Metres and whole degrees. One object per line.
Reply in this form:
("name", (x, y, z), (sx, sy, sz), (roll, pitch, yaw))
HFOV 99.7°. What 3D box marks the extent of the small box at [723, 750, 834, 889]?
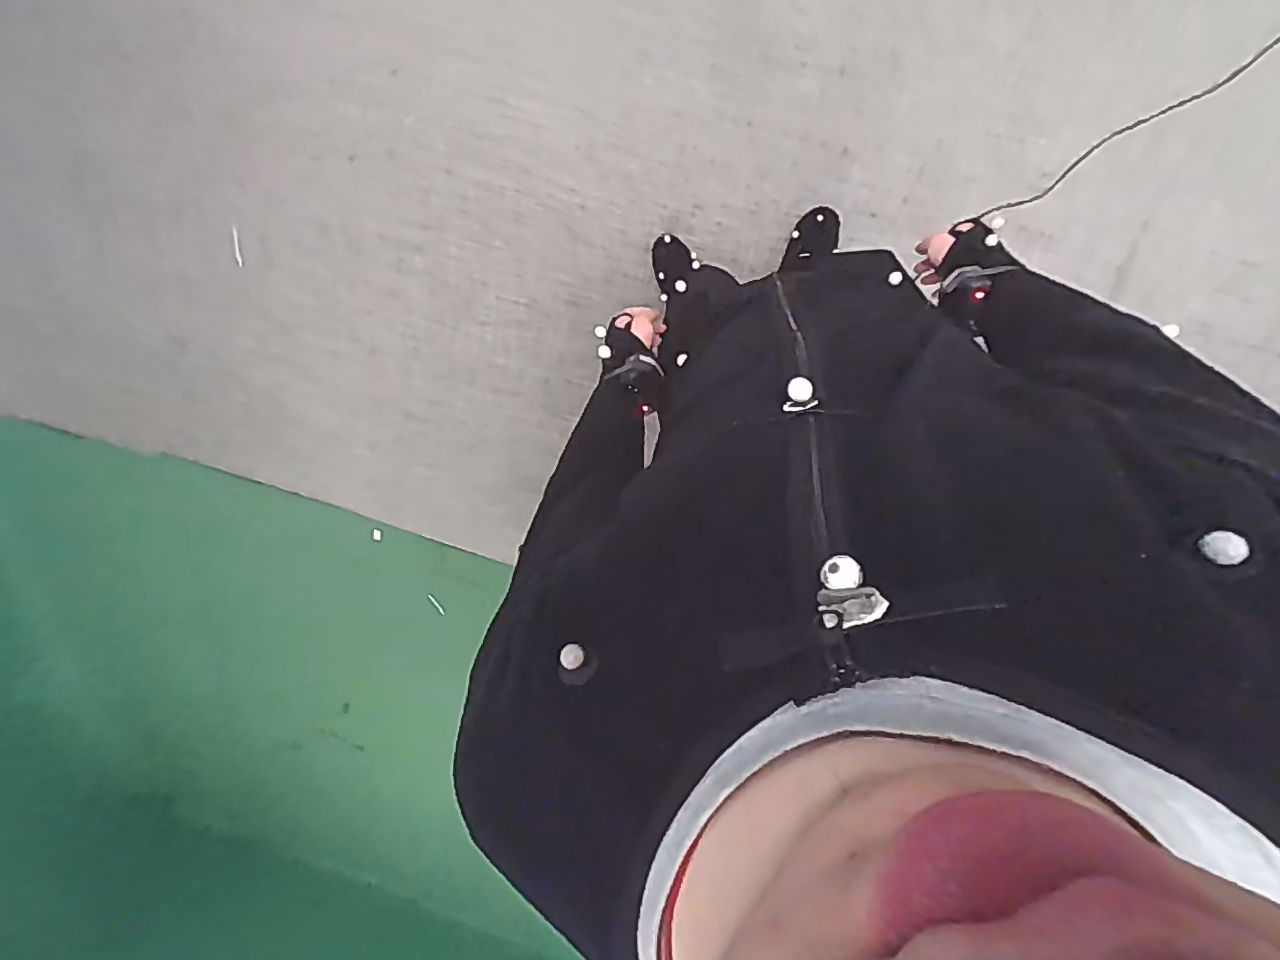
("small box", (0.286, 0.704, 1.135), (0.179, 0.176, 0.168), (16, 120, 6))
